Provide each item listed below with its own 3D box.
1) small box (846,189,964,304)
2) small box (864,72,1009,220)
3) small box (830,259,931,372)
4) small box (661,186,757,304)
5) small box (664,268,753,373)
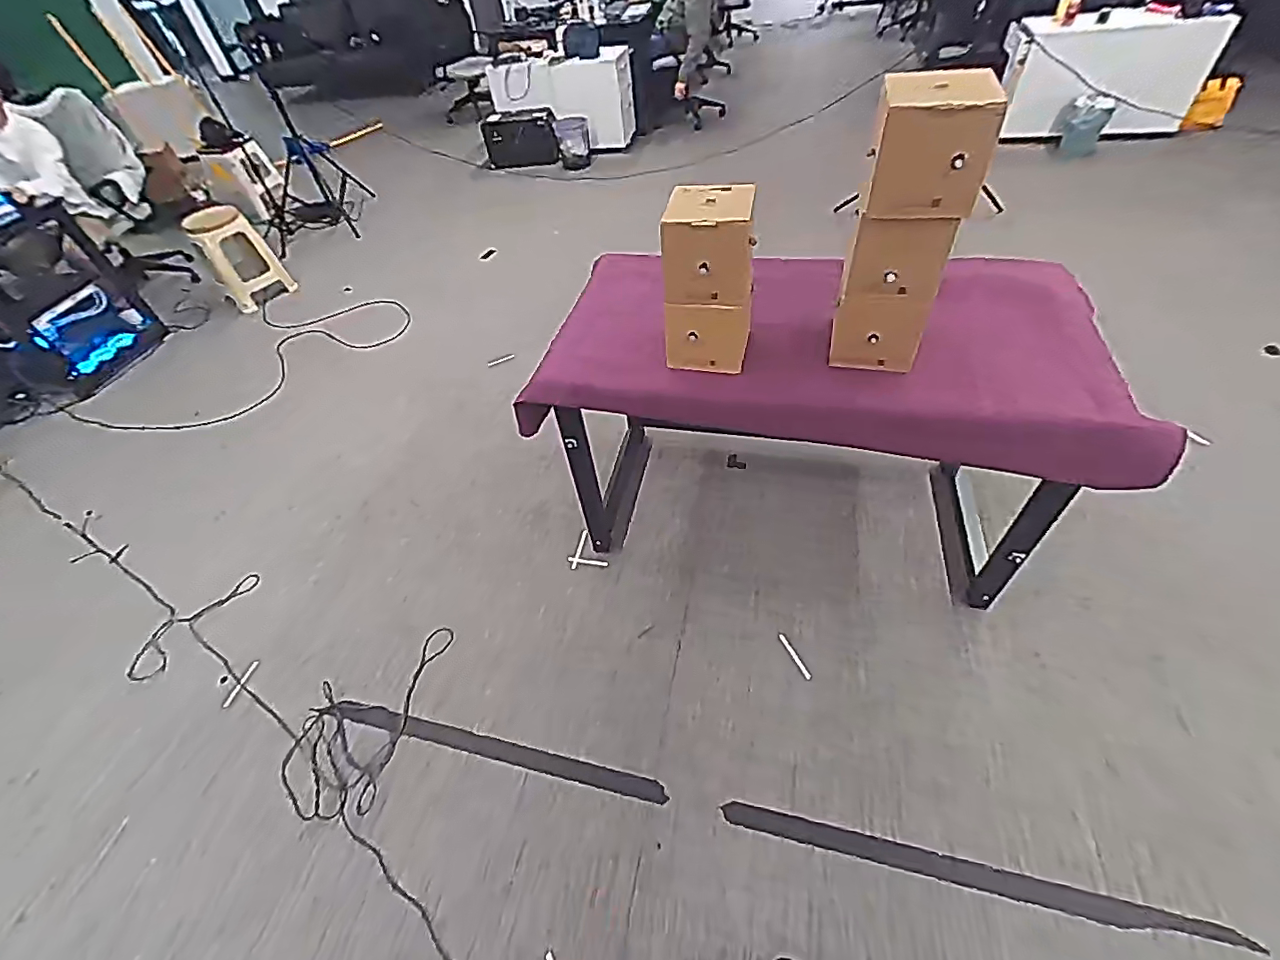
[{"bbox_3d":[0.498,-0.463,1.039,0.168,0.176,0.179,9,51,15],"label":"small box"},{"bbox_3d":[0.479,-0.553,0.903,0.168,0.176,0.179,7,50,12],"label":"small box"},{"bbox_3d":[0.510,-0.353,1.160,0.168,0.176,0.179,10,50,15],"label":"small box"},{"bbox_3d":[0.142,-0.472,1.093,0.168,0.176,0.179,6,49,12],"label":"small box"},{"bbox_3d":[0.158,-0.358,1.211,0.168,0.176,0.179,8,49,14],"label":"small box"}]
